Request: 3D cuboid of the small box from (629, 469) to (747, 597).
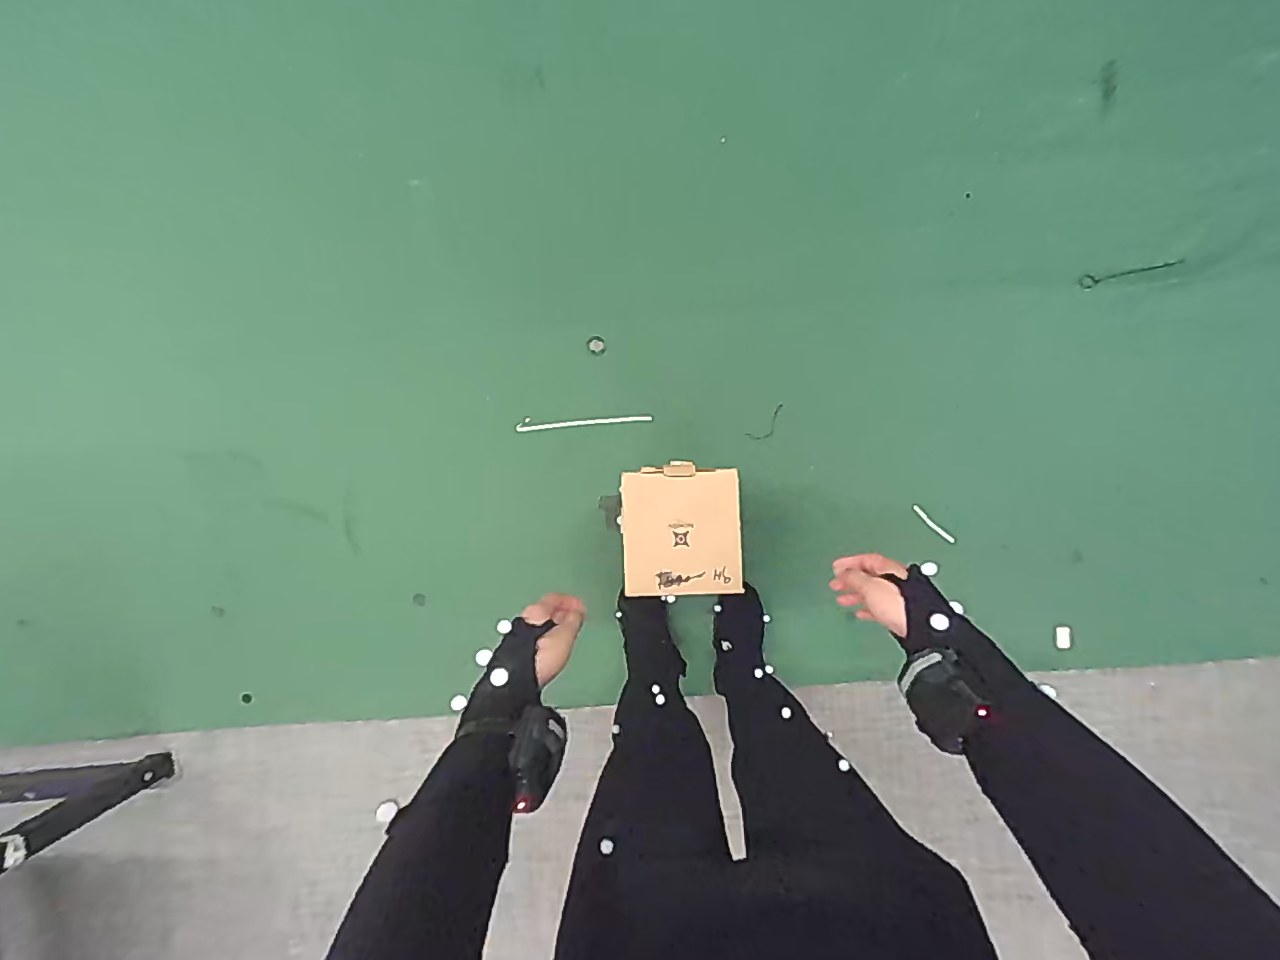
[{"bbox_3d":[0.066,0.077,0.831,0.168,0.176,0.179,-2,89,1],"label":"small box"}]
